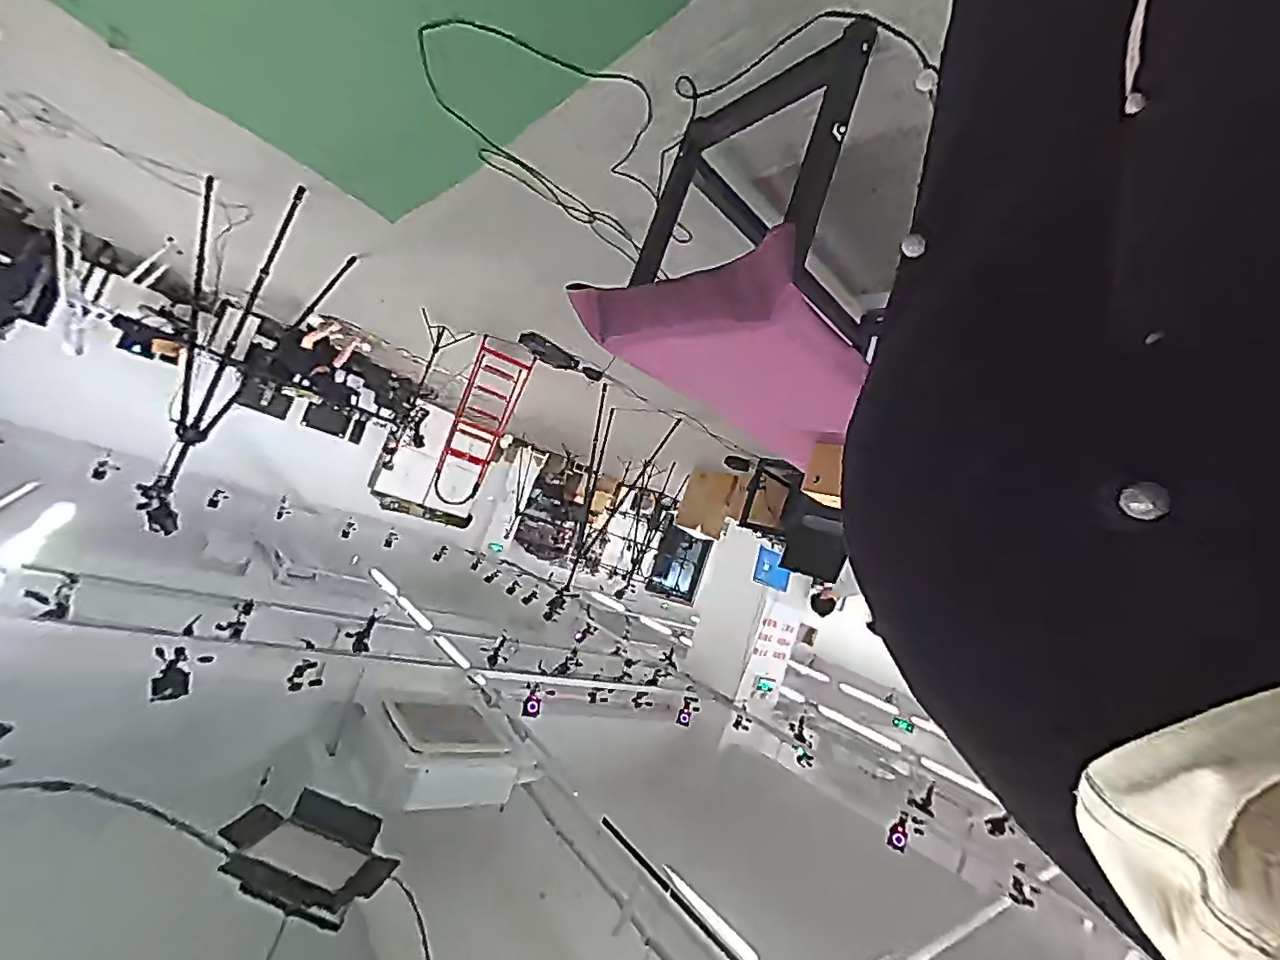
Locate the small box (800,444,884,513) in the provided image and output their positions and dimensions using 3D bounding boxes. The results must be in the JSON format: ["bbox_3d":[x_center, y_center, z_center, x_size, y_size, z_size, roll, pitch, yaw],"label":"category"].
[{"bbox_3d":[0.650,-0.009,1.733,0.168,0.176,0.179,25,171,-40],"label":"small box"}]
